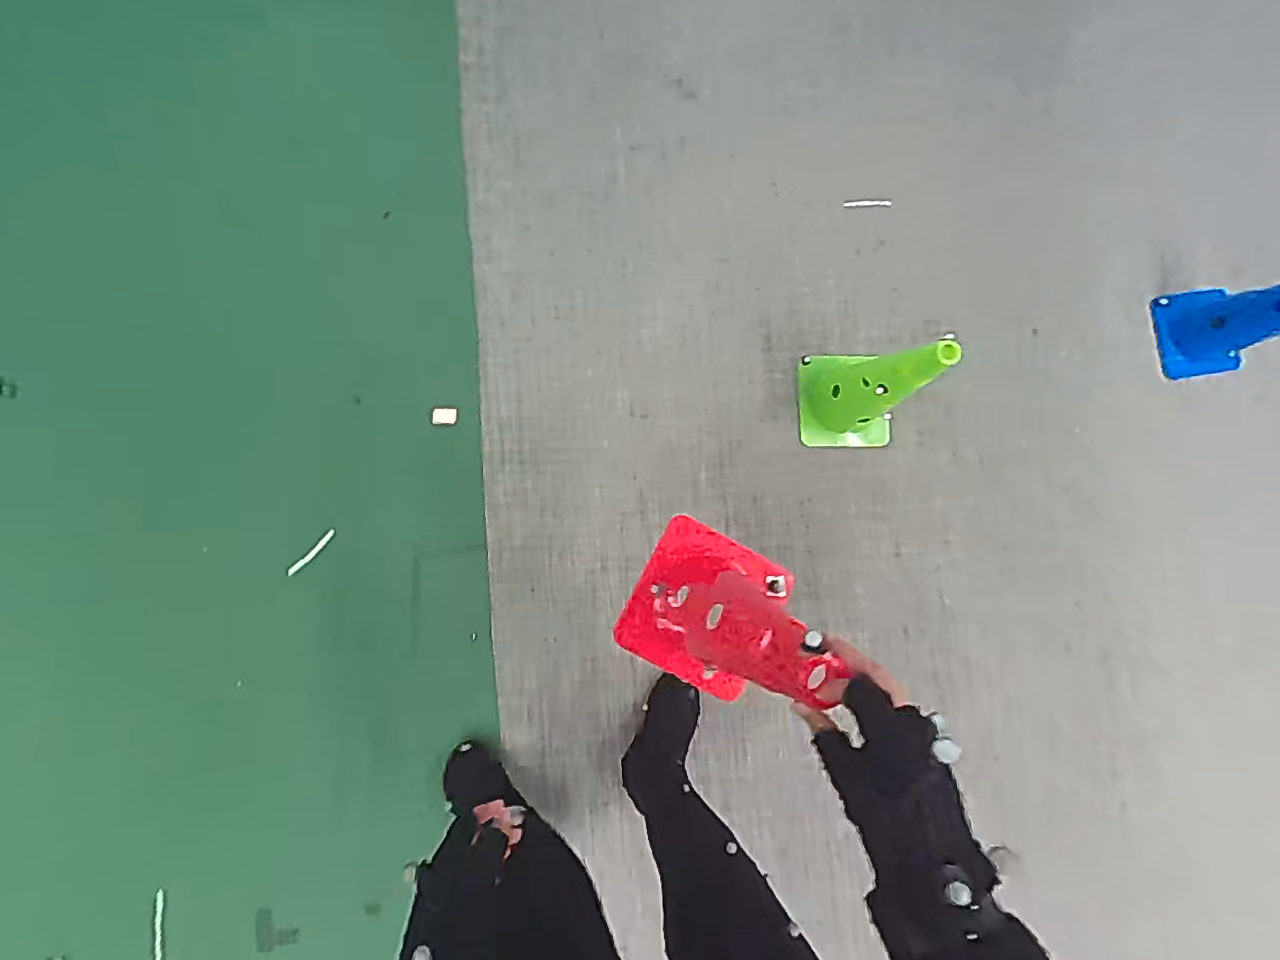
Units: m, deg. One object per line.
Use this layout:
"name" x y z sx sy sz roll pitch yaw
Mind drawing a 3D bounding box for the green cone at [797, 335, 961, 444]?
"green cone" 0.461 -0.190 1.017 0.202 0.368 0.200 -2 87 -5
